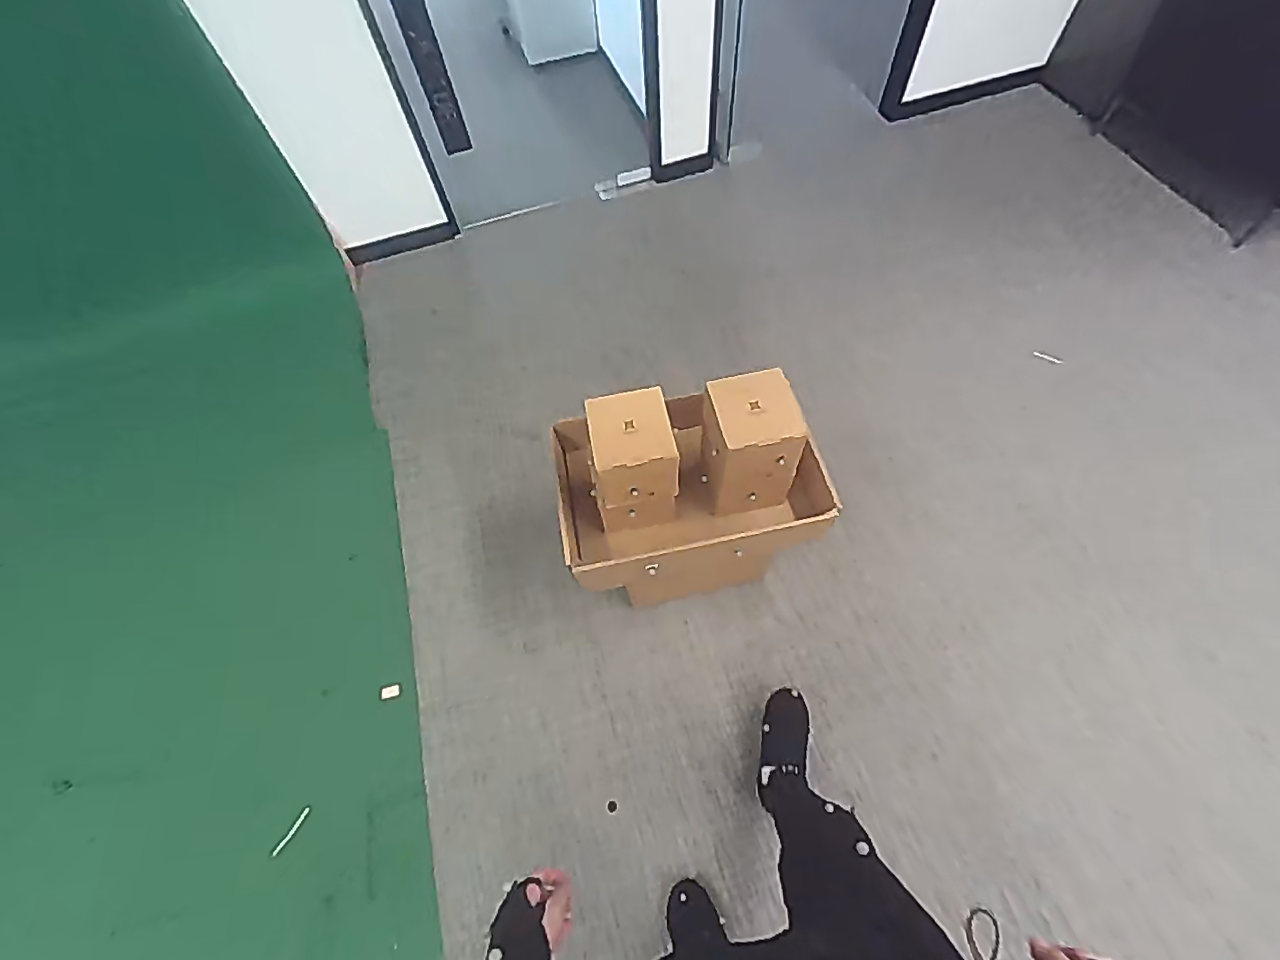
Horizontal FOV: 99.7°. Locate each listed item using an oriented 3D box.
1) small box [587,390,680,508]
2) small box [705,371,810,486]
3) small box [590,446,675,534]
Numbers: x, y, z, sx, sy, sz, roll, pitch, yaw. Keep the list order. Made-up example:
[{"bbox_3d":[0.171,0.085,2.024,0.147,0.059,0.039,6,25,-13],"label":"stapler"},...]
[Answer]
[{"bbox_3d":[-0.015,-0.063,1.146,0.168,0.176,0.179,-10,61,-3],"label":"small box"},{"bbox_3d":[0.239,-0.100,1.147,0.168,0.176,0.179,-10,60,-3],"label":"small box"},{"bbox_3d":[-0.015,0.016,1.290,0.179,0.176,0.168,-10,61,-2],"label":"small box"}]
